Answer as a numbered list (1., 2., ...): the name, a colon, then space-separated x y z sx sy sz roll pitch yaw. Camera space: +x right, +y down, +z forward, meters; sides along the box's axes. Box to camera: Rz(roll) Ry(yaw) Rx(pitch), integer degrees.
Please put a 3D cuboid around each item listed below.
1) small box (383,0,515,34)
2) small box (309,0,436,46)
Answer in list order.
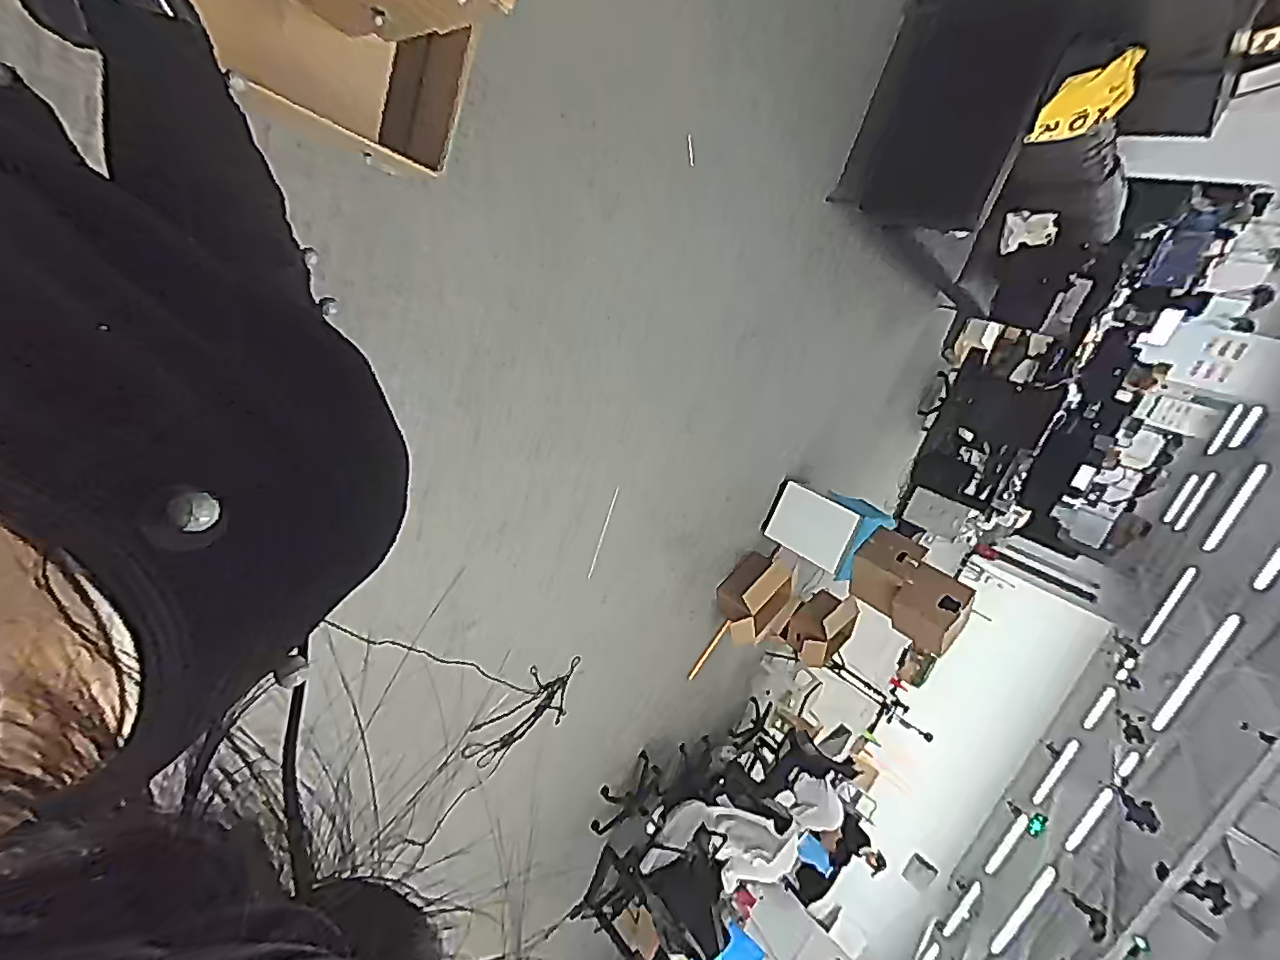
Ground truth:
1. small box: -0.211 -0.570 0.513 0.179 0.176 0.168 12 104 -51
2. small box: -0.322 -0.635 0.611 0.179 0.176 0.168 10 106 -49
